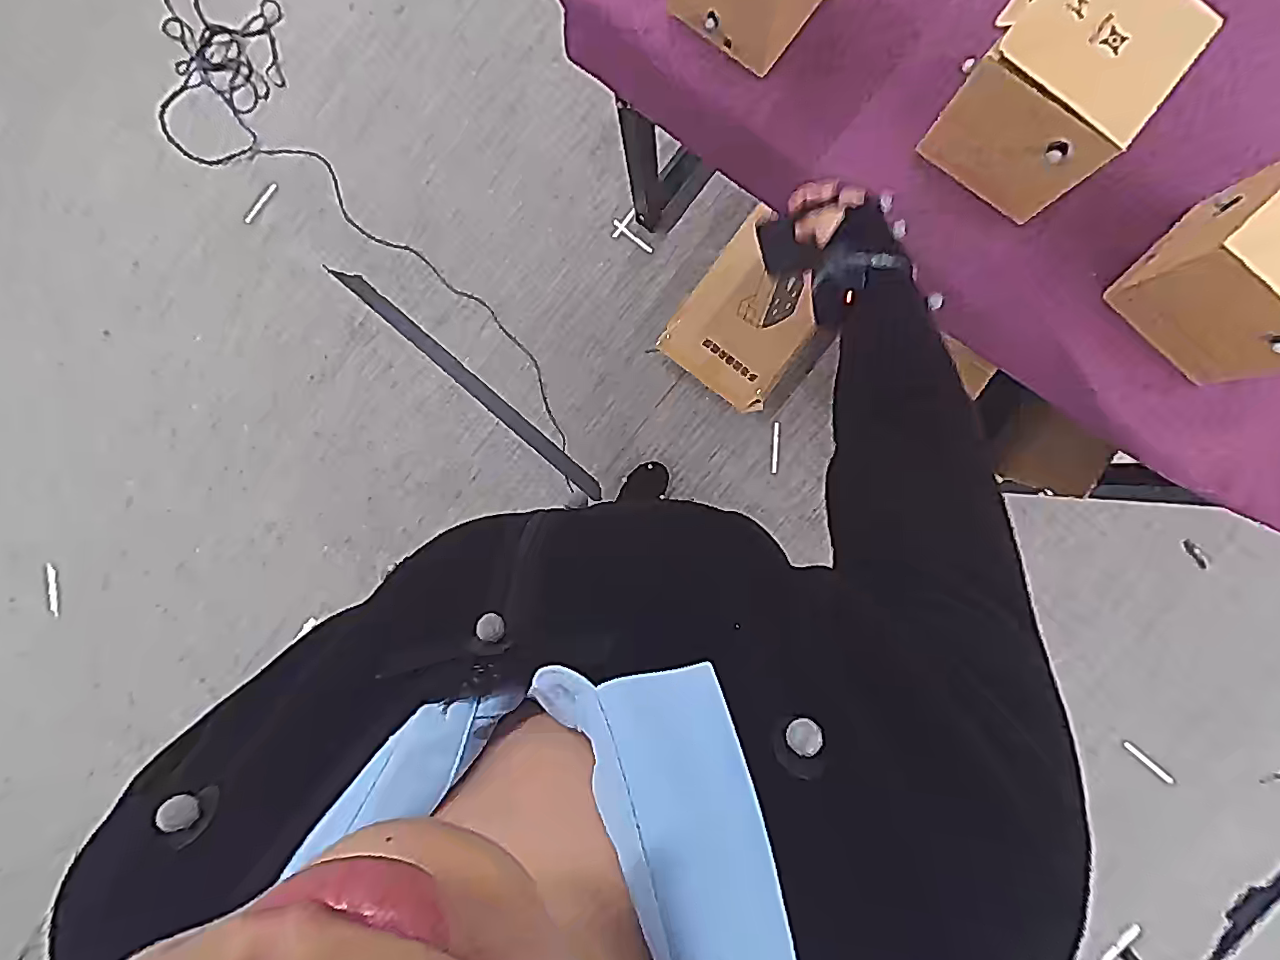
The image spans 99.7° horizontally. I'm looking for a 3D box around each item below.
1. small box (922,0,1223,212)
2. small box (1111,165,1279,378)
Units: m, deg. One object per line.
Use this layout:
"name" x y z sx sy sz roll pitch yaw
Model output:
"small box" 0.484 -0.453 0.636 0.179 0.176 0.168 38 91 3
"small box" 0.720 -0.239 0.624 0.179 0.176 0.168 45 94 2
